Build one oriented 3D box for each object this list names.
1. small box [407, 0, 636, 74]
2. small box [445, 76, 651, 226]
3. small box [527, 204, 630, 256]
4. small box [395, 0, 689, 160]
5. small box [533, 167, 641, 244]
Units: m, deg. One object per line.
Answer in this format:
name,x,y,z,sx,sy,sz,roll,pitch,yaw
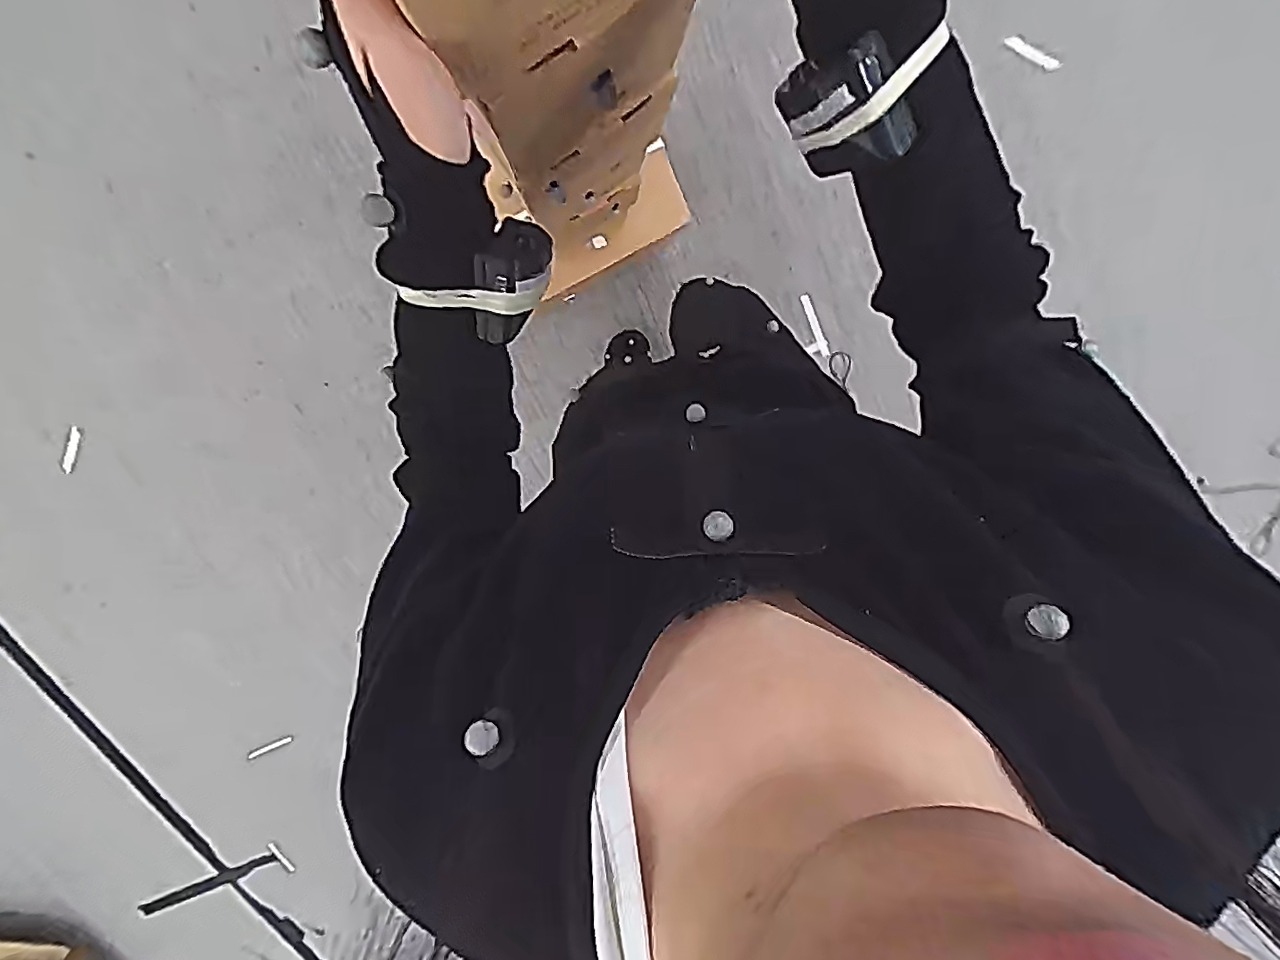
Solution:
small box,-0.054,-0.291,0.193,0.168,0.176,0.179,-28,107,3
small box,-0.105,-0.434,0.660,0.168,0.176,0.179,-33,107,4
small box,-0.133,-0.527,0.972,0.168,0.176,0.179,-27,107,4
small box,-0.075,-0.340,0.348,0.168,0.176,0.179,-37,107,5
small box,-0.113,-0.479,0.818,0.168,0.176,0.179,-29,106,3
